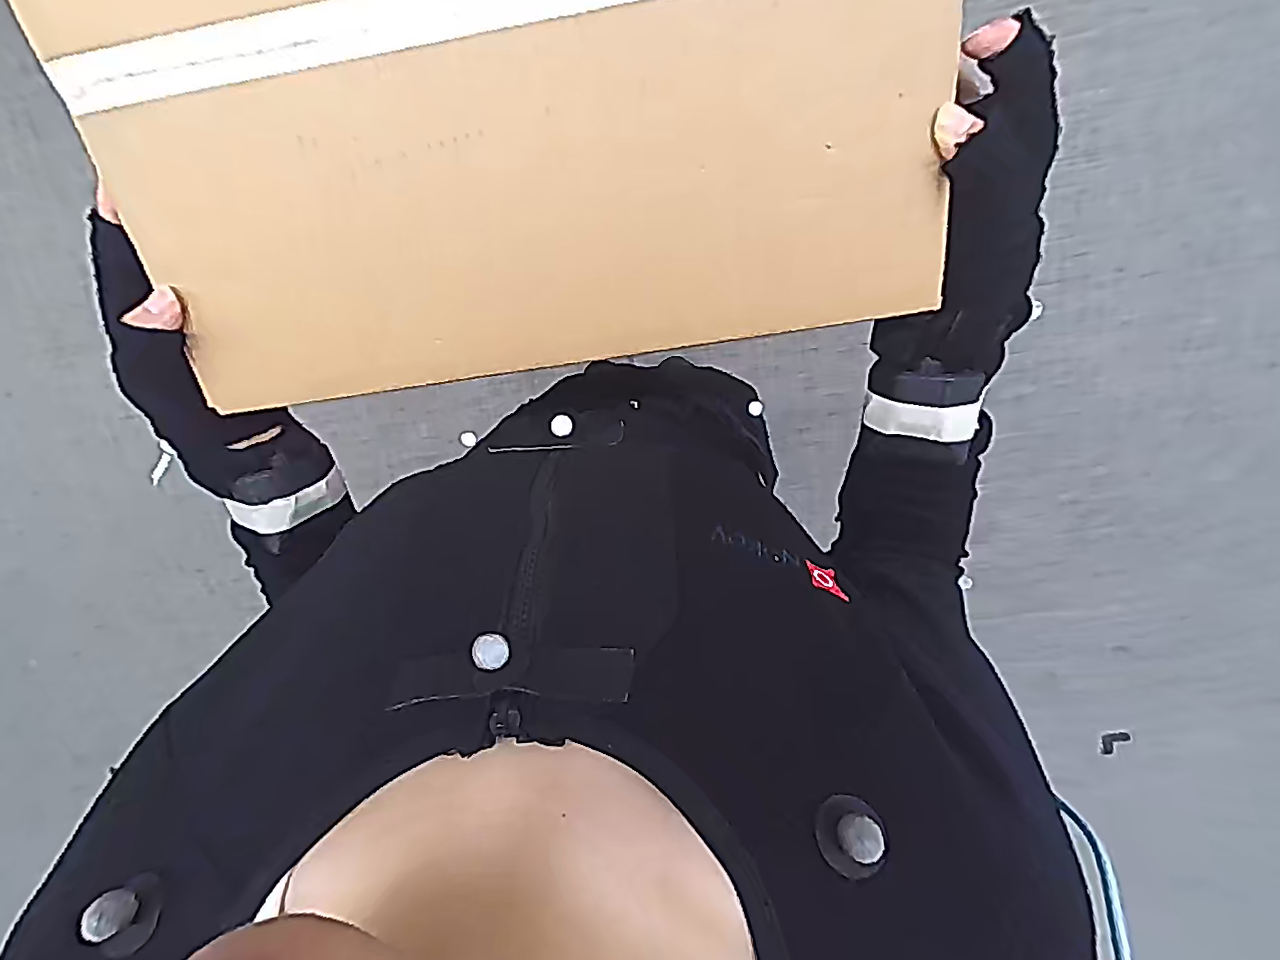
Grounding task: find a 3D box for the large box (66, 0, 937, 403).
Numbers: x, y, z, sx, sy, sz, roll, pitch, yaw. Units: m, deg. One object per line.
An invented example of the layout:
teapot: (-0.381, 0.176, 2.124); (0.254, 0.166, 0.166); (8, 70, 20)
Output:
large box: (-0.063, -0.269, 0.387); (0.408, 0.320, 0.320); (-8, 113, 4)
